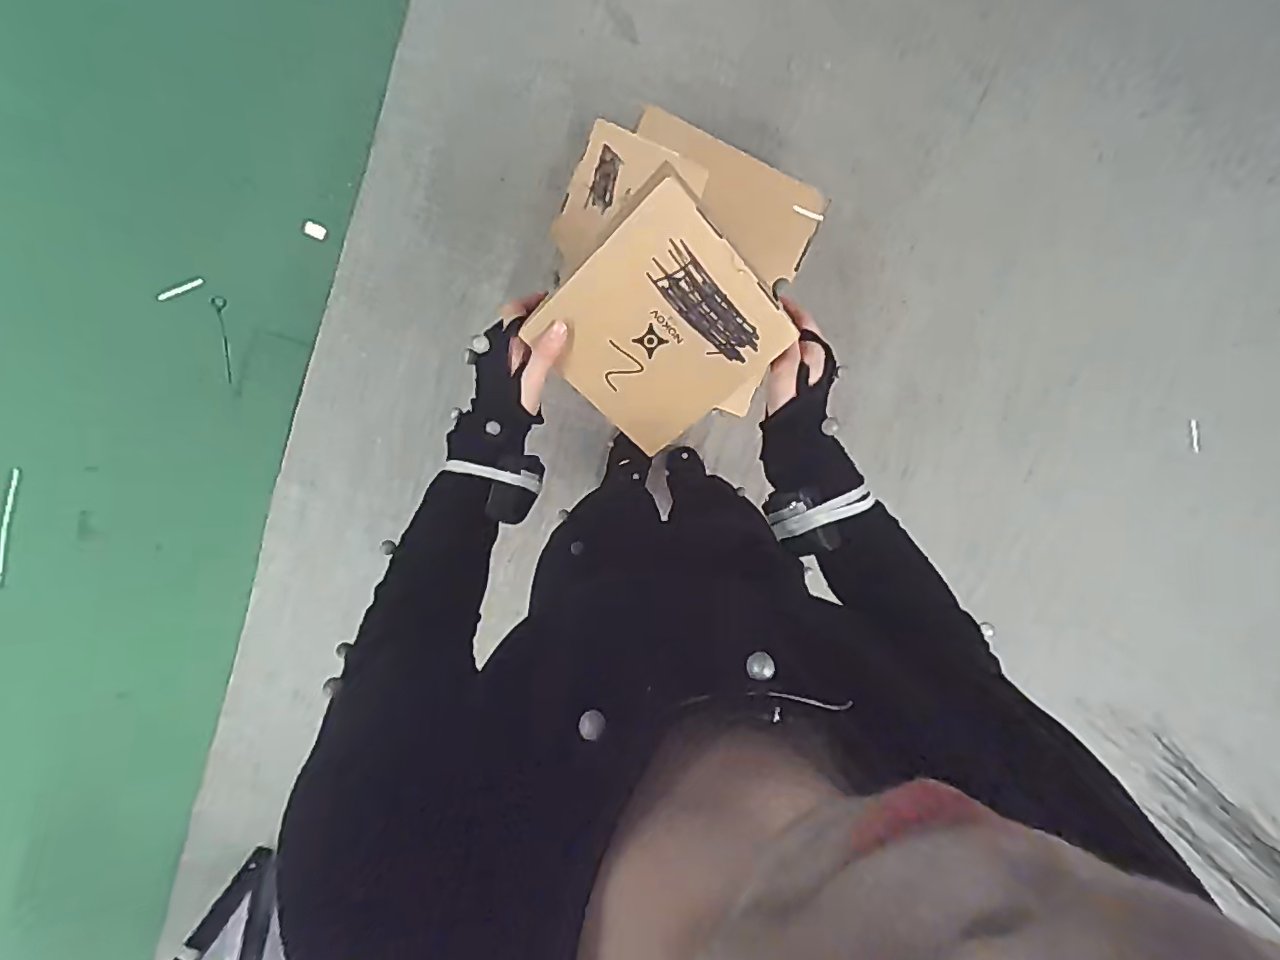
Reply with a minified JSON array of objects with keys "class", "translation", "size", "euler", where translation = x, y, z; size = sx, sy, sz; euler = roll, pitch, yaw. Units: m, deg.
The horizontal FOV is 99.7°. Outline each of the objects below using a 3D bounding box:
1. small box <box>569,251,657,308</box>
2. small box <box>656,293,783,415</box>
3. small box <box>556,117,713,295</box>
[{"class":"small box","translation":[-0.018,-0.438,0.991],"size":[0.168,0.176,0.179],"euler":[23,98,-5]},{"class":"small box","translation":[0.141,-0.237,1.035],"size":[0.179,0.176,0.168],"euler":[21,99,-6]},{"class":"small box","translation":[-0.010,-0.402,0.829],"size":[0.179,0.176,0.168],"euler":[22,99,-5]}]
